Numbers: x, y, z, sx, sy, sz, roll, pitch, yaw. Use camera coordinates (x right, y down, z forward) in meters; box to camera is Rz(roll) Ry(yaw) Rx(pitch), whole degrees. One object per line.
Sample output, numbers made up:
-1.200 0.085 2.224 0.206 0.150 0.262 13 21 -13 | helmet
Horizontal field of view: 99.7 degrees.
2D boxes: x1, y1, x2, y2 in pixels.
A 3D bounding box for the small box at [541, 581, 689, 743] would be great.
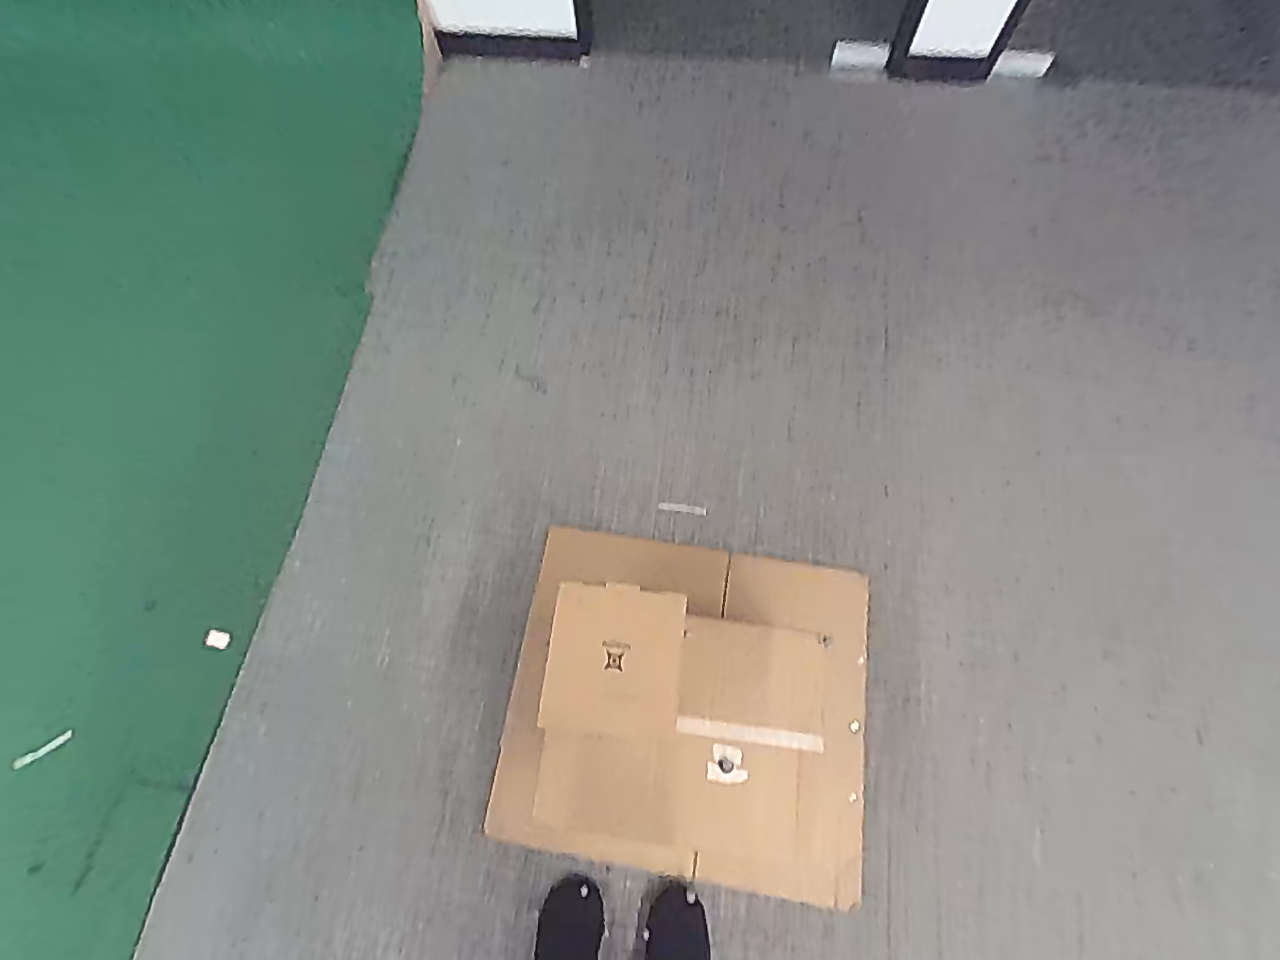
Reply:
-0.027 0.246 0.734 0.168 0.176 0.179 5 70 4 | small box
